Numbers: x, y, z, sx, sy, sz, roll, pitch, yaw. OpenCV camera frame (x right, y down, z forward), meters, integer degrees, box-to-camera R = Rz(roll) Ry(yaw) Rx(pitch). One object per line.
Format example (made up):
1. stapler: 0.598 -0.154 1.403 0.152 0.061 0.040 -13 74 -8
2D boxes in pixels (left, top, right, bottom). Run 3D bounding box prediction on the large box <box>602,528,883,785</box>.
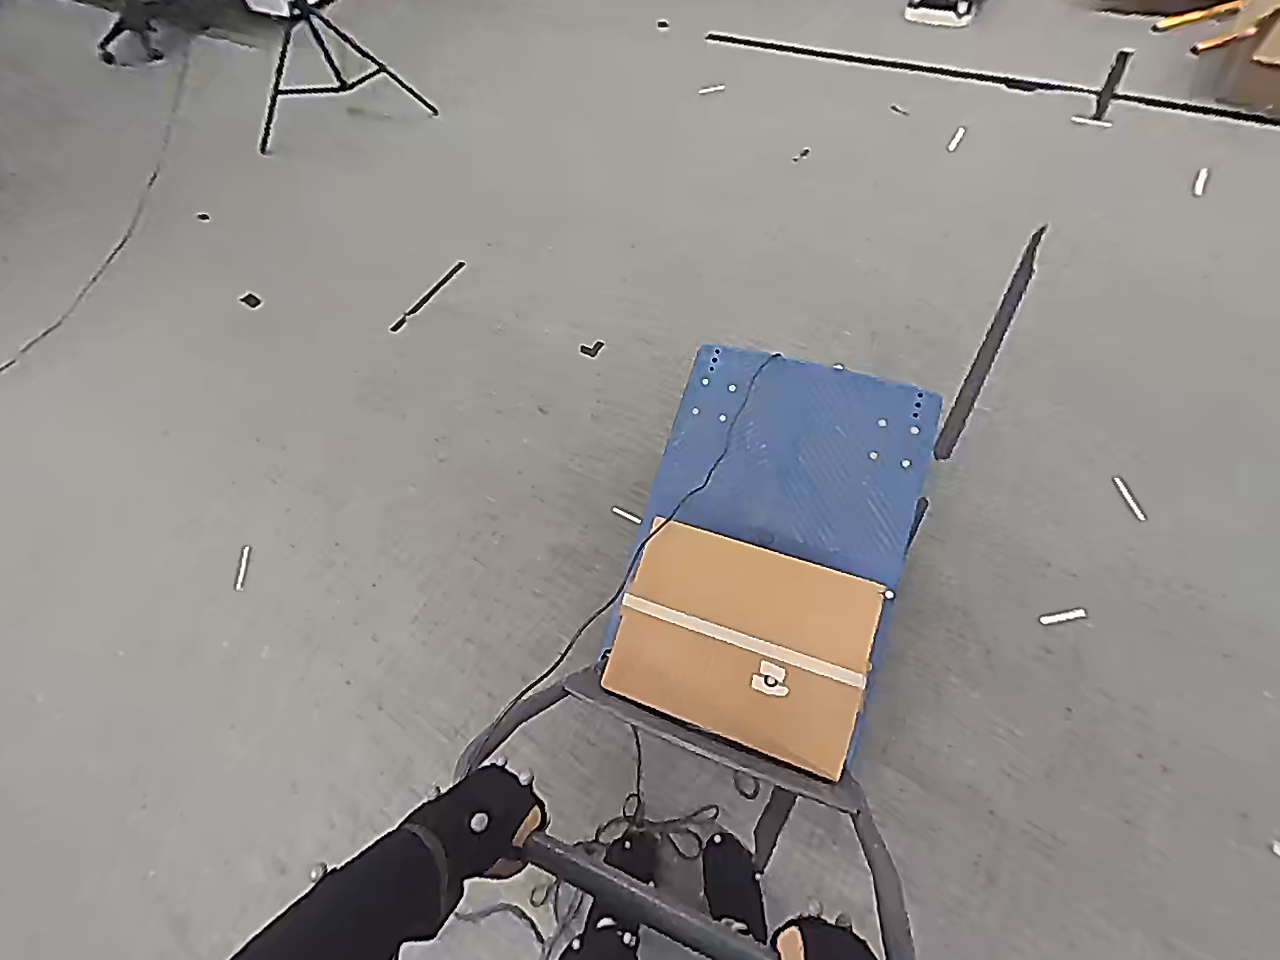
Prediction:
1. large box: 0.189 0.309 1.033 0.408 0.320 0.320 16 81 14
